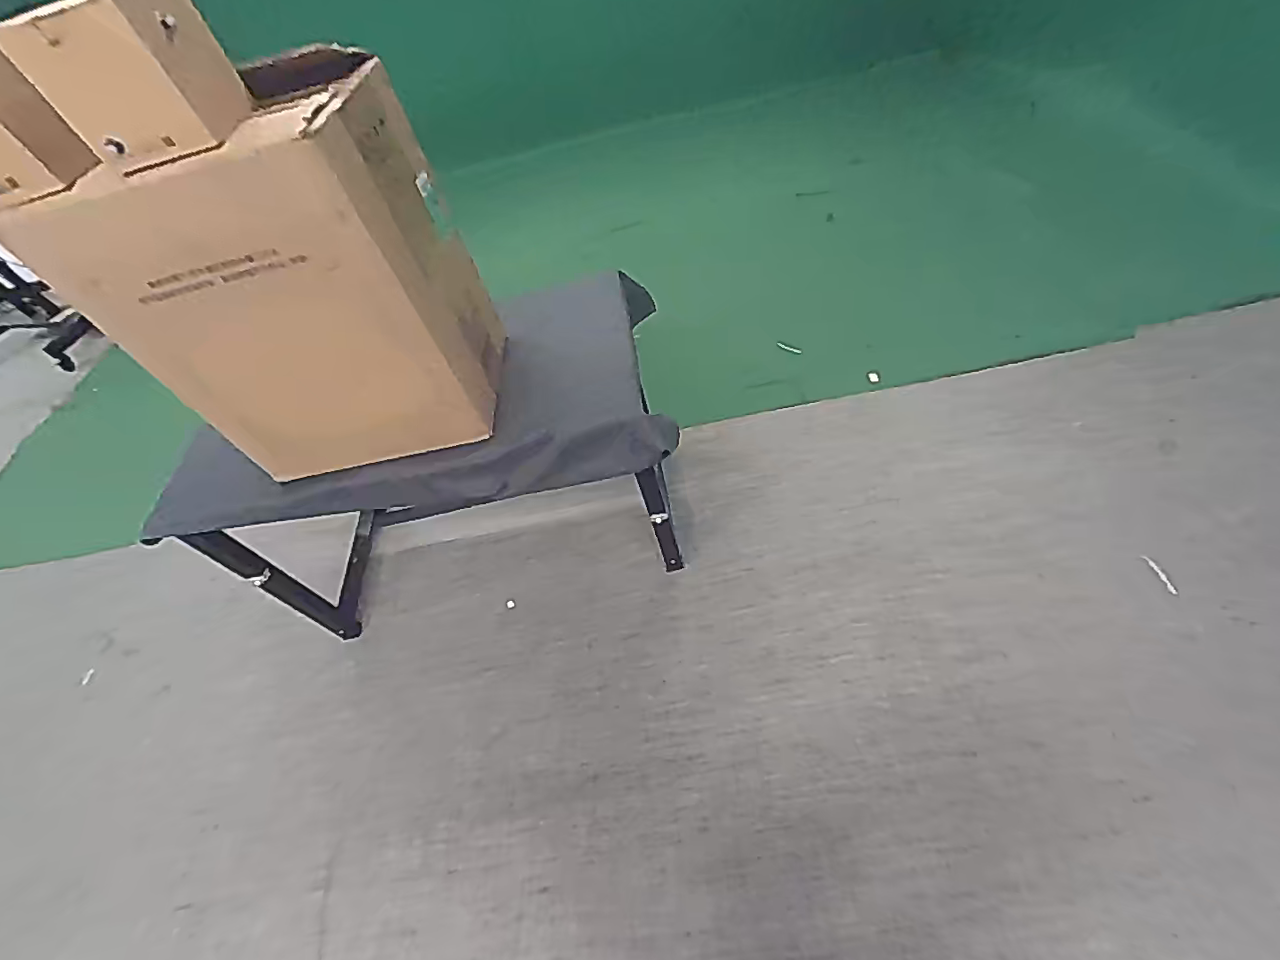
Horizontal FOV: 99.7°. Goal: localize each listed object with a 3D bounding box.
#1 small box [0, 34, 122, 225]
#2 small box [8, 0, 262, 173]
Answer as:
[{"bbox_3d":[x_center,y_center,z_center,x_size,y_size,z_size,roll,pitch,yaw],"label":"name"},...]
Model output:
[{"bbox_3d":[-0.928,-0.513,0.801,0.168,0.176,0.179,-15,52,7],"label":"small box"},{"bbox_3d":[-0.688,-0.562,0.767,0.168,0.176,0.179,-13,50,5],"label":"small box"}]
